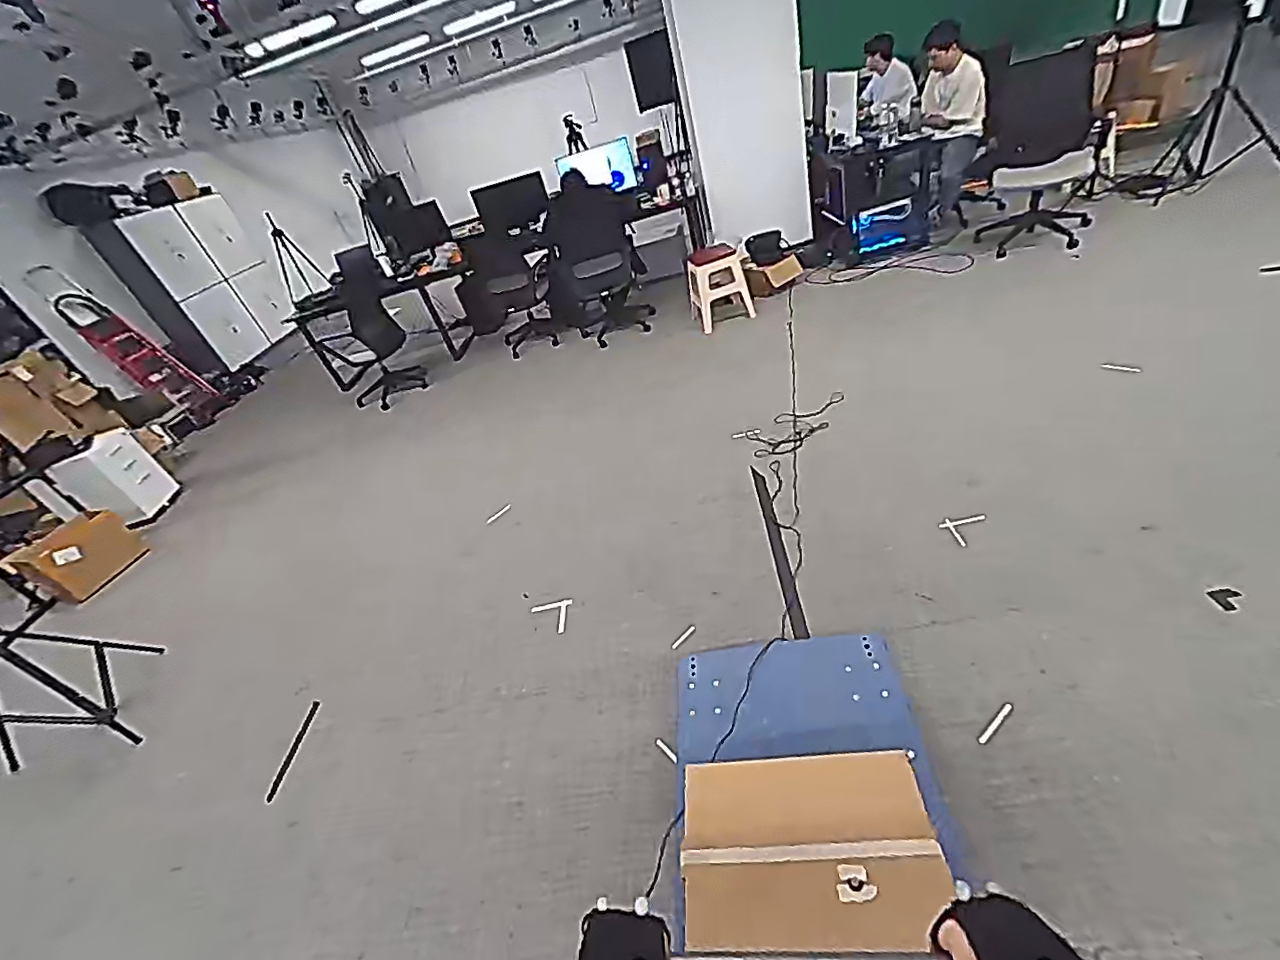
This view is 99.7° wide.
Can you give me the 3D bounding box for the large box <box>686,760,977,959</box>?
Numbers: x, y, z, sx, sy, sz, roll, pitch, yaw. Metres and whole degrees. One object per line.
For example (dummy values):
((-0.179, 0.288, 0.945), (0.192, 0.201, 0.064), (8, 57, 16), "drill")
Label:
((0.307, 0.733, 0.944), (0.408, 0.320, 0.320), (-10, 35, 12), "large box")
